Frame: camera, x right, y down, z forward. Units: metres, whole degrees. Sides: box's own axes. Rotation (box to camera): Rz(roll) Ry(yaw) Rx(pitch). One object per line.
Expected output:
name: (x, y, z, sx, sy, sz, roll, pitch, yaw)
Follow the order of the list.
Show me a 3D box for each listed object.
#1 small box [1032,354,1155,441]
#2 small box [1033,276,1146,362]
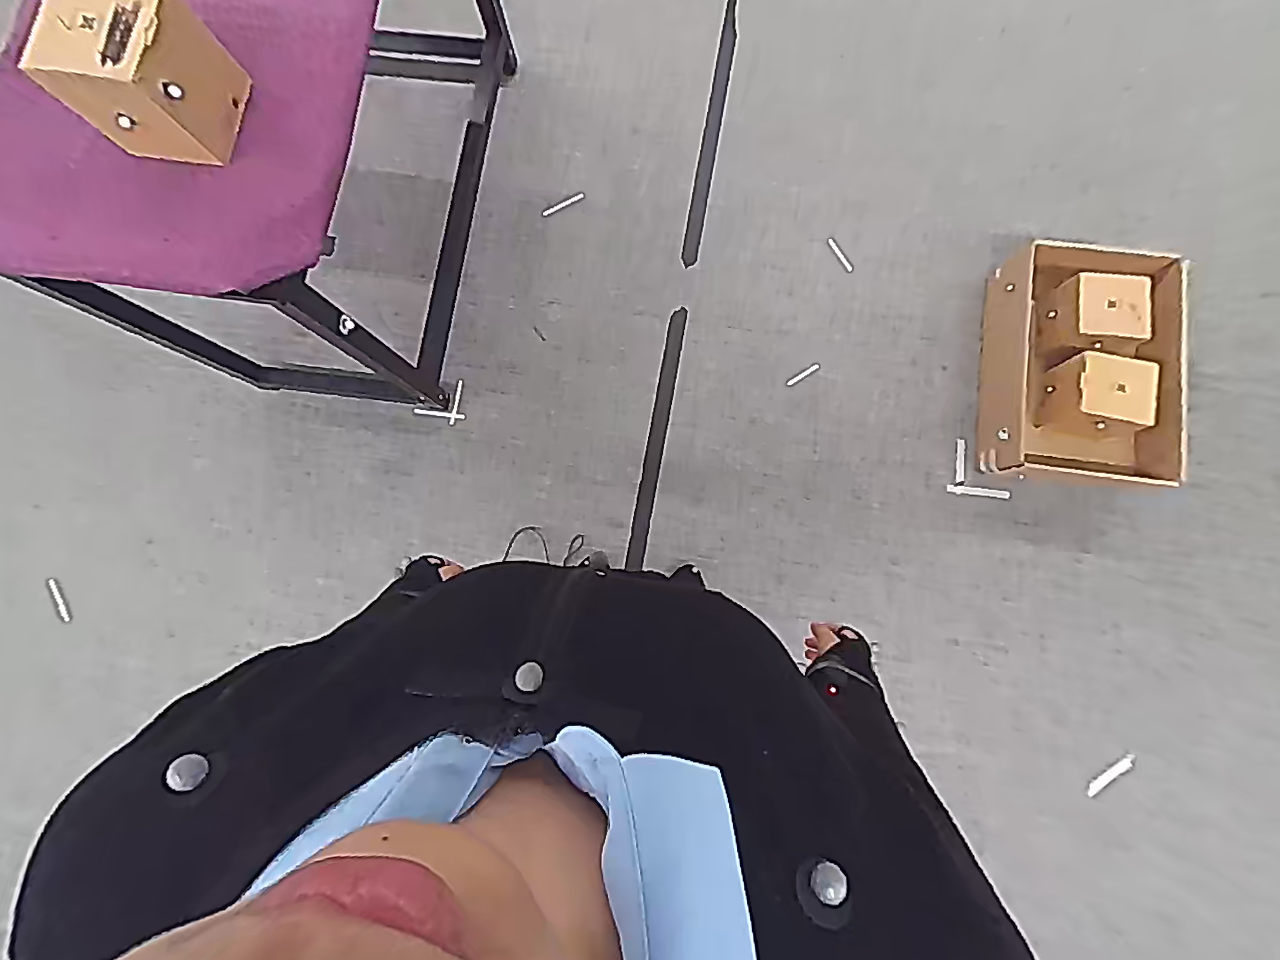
small box: (1.185, -0.209, 1.422, 0.179, 0.176, 0.168, 13, 81, 4)
small box: (1.196, -0.425, 1.451, 0.179, 0.176, 0.168, 6, 84, 3)
